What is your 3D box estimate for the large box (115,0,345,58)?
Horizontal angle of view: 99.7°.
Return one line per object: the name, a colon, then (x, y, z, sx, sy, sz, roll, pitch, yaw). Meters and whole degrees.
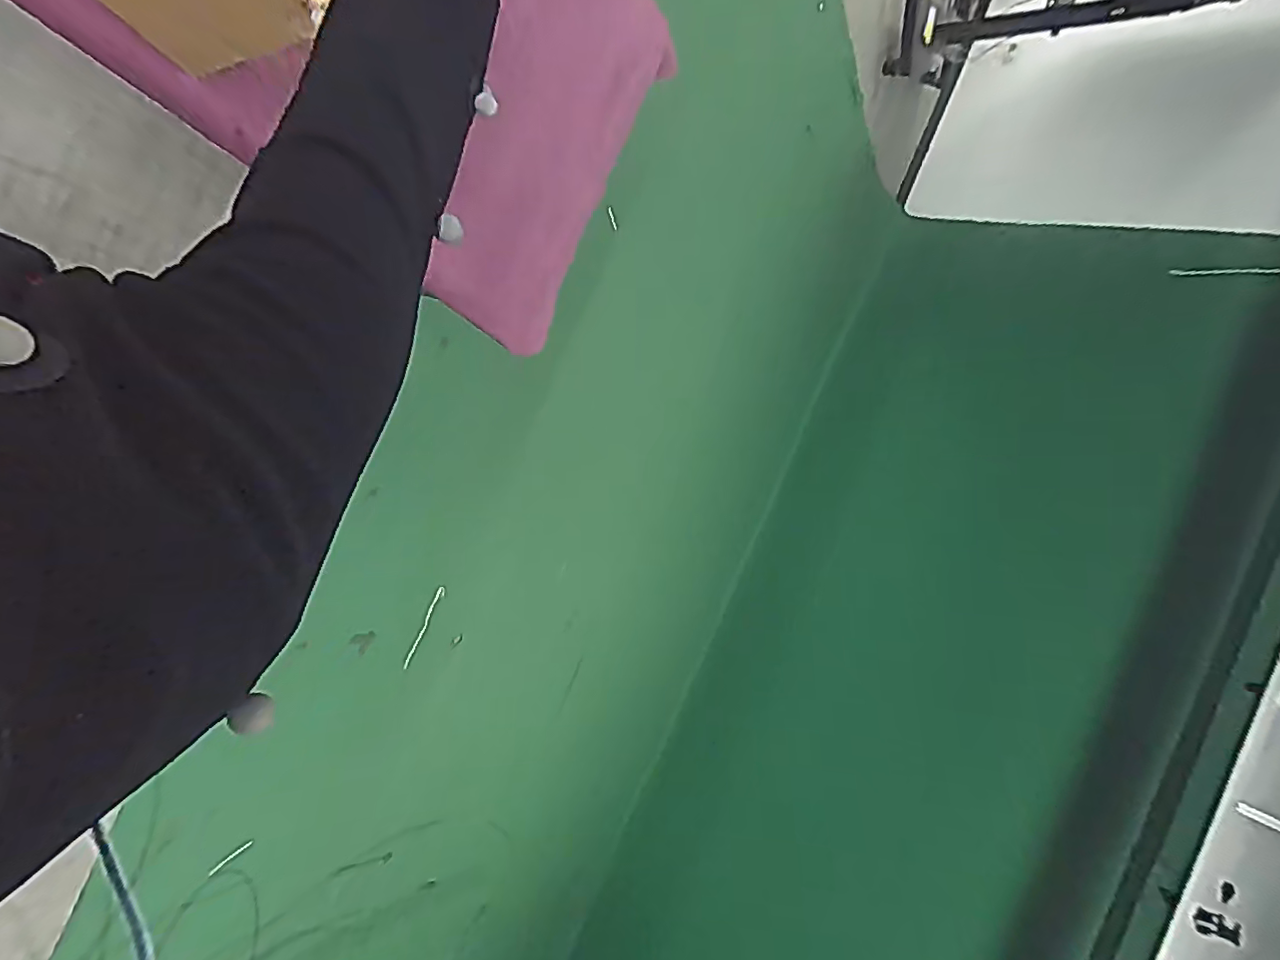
large box: (-0.324, -0.596, 0.357, 0.320, 0.320, 0.408, 33, 82, -55)
